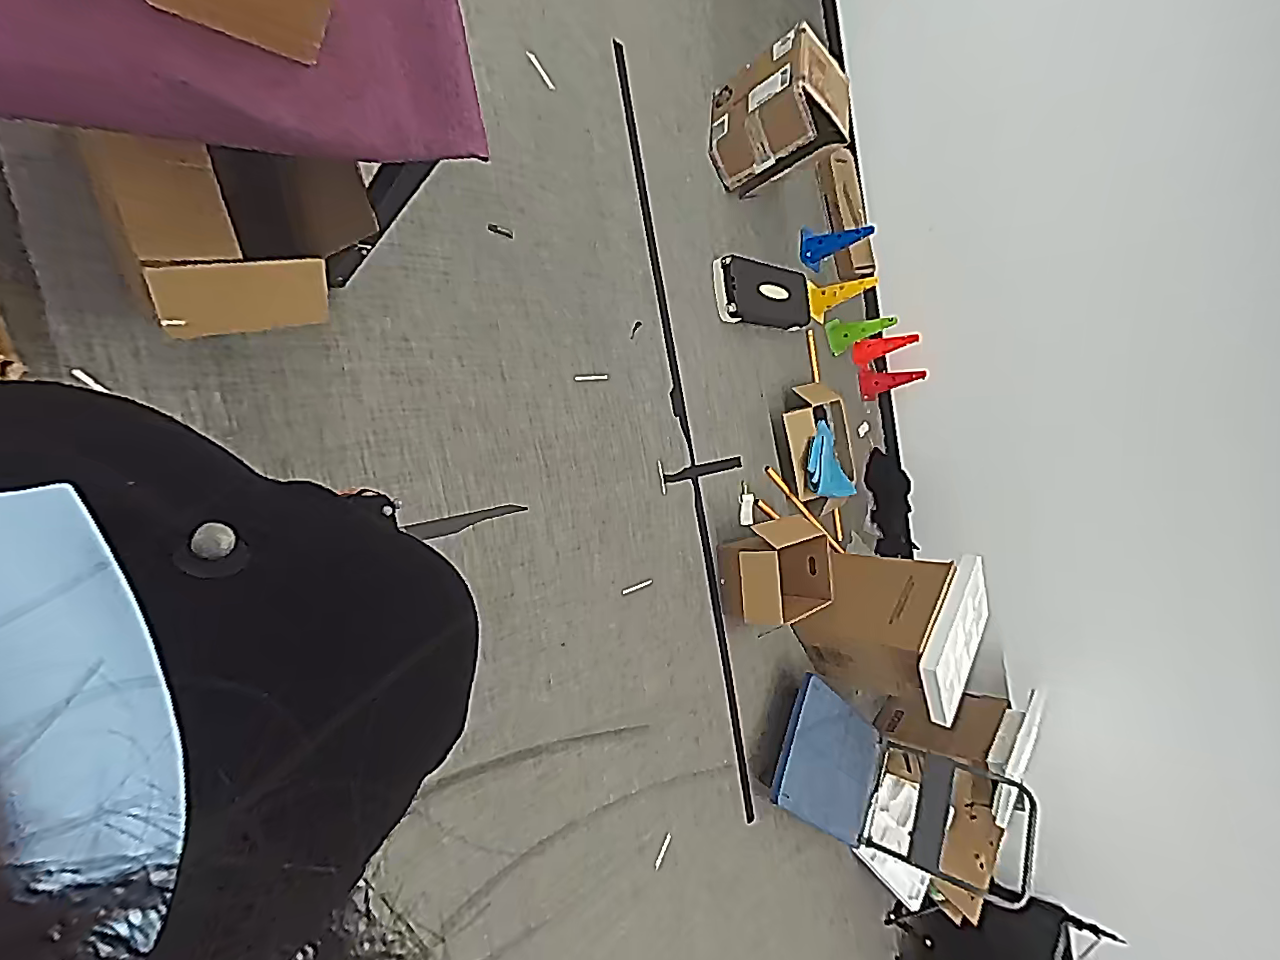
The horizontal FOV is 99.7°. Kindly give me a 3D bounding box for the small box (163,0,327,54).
[{"bbox_3d":[-0.465,-0.647,0.619,0.179,0.176,0.168,-6,91,-43],"label":"small box"}]
